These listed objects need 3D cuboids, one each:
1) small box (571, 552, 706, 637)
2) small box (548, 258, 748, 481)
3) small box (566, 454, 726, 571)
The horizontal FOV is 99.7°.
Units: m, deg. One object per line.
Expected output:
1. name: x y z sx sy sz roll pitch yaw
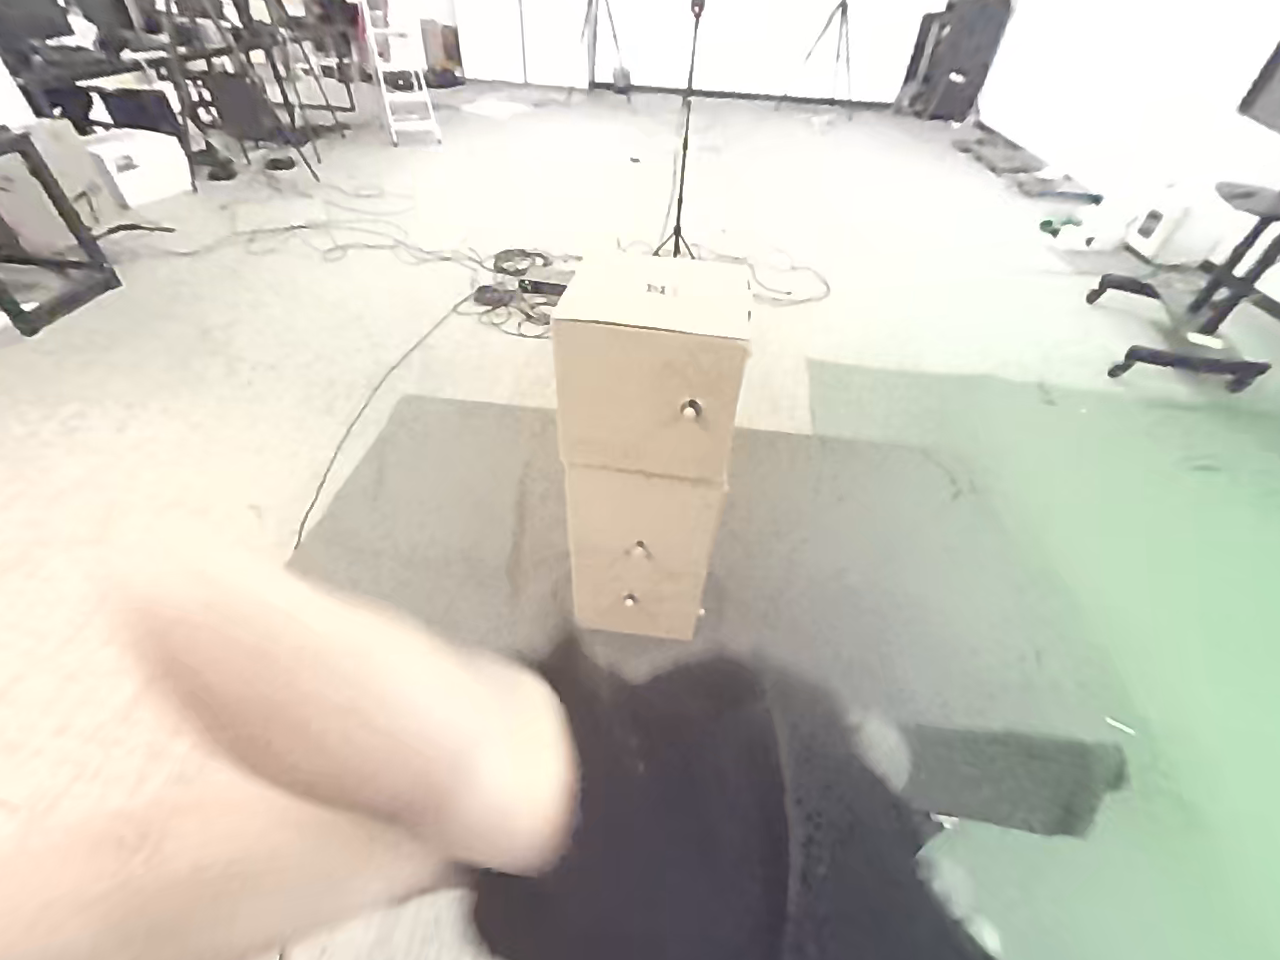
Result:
1. small box: 0.002 0.116 0.805 0.179 0.176 0.168 6 43 3
2. small box: 0.013 -0.117 0.577 0.179 0.176 0.168 6 42 5
3. small box: 0.009 0.002 0.693 0.179 0.176 0.168 5 44 2
